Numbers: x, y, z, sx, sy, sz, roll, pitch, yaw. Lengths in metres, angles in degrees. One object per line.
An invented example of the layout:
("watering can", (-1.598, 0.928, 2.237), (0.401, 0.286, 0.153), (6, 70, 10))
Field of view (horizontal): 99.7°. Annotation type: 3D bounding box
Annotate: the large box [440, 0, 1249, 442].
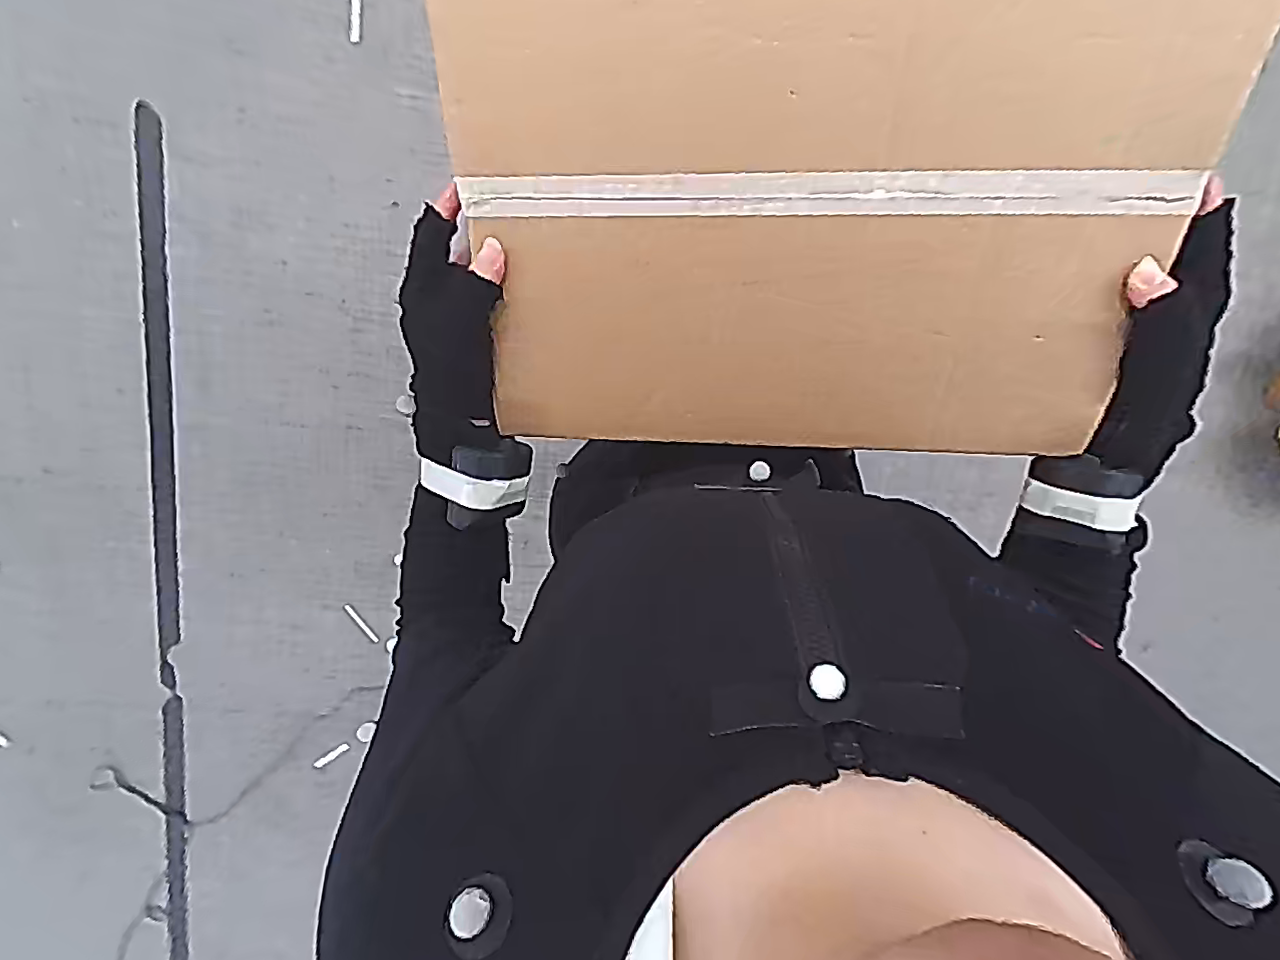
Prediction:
("large box", (0.105, -0.237, 0.445), (0.408, 0.320, 0.320), (2, 122, 4))
